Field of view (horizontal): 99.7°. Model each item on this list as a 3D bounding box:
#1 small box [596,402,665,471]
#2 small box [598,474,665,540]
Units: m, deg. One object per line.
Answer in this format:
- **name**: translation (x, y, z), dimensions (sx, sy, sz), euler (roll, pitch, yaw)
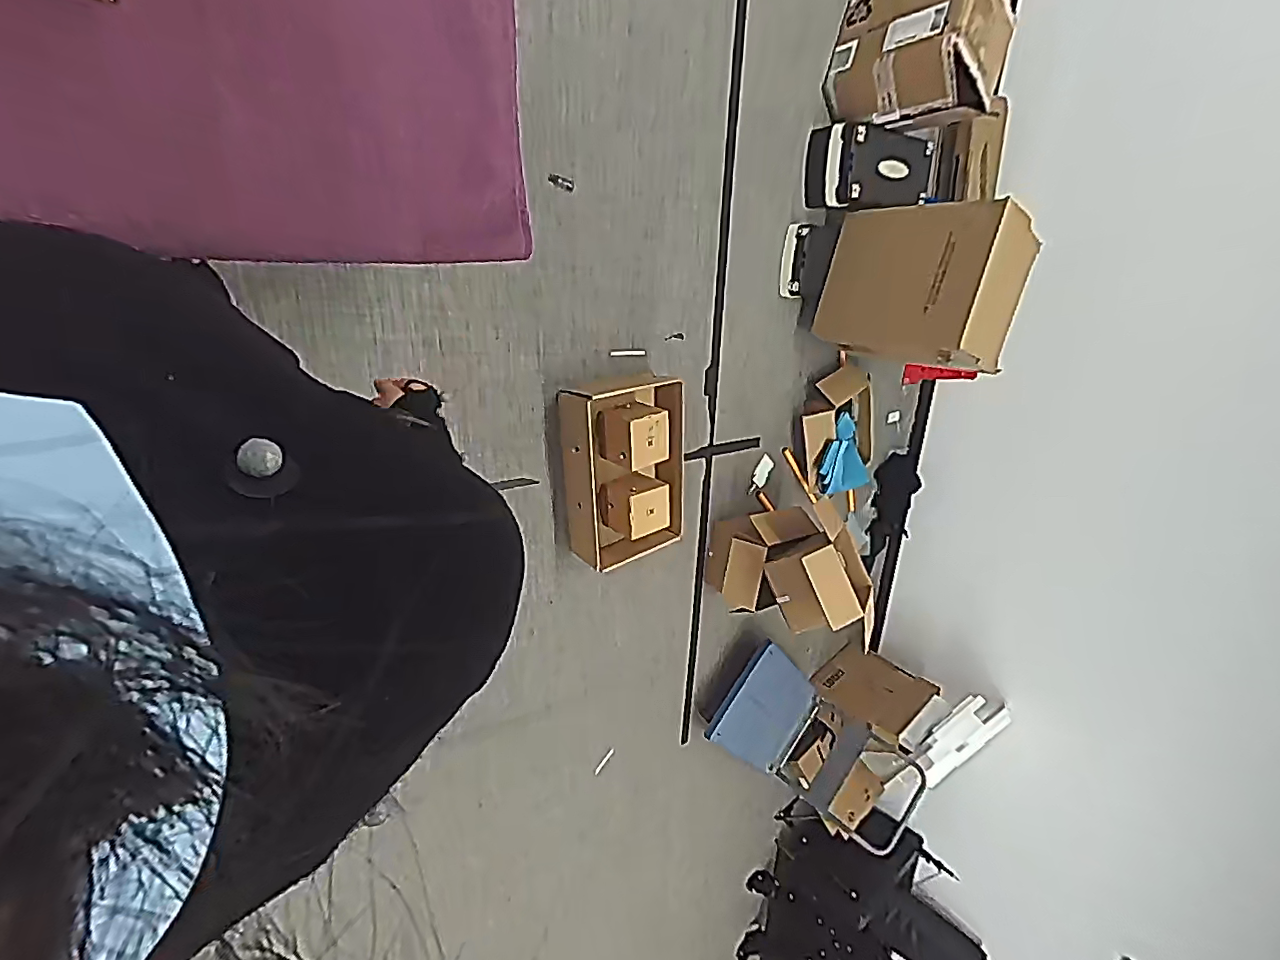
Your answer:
- **small box**: translation (-0.034, -0.151, 1.830), dimensions (0.168, 0.176, 0.179), euler (-21, 120, -36)
- **small box**: translation (-0.030, 0.089, 1.929), dimensions (0.179, 0.176, 0.168), euler (-18, 117, -36)
